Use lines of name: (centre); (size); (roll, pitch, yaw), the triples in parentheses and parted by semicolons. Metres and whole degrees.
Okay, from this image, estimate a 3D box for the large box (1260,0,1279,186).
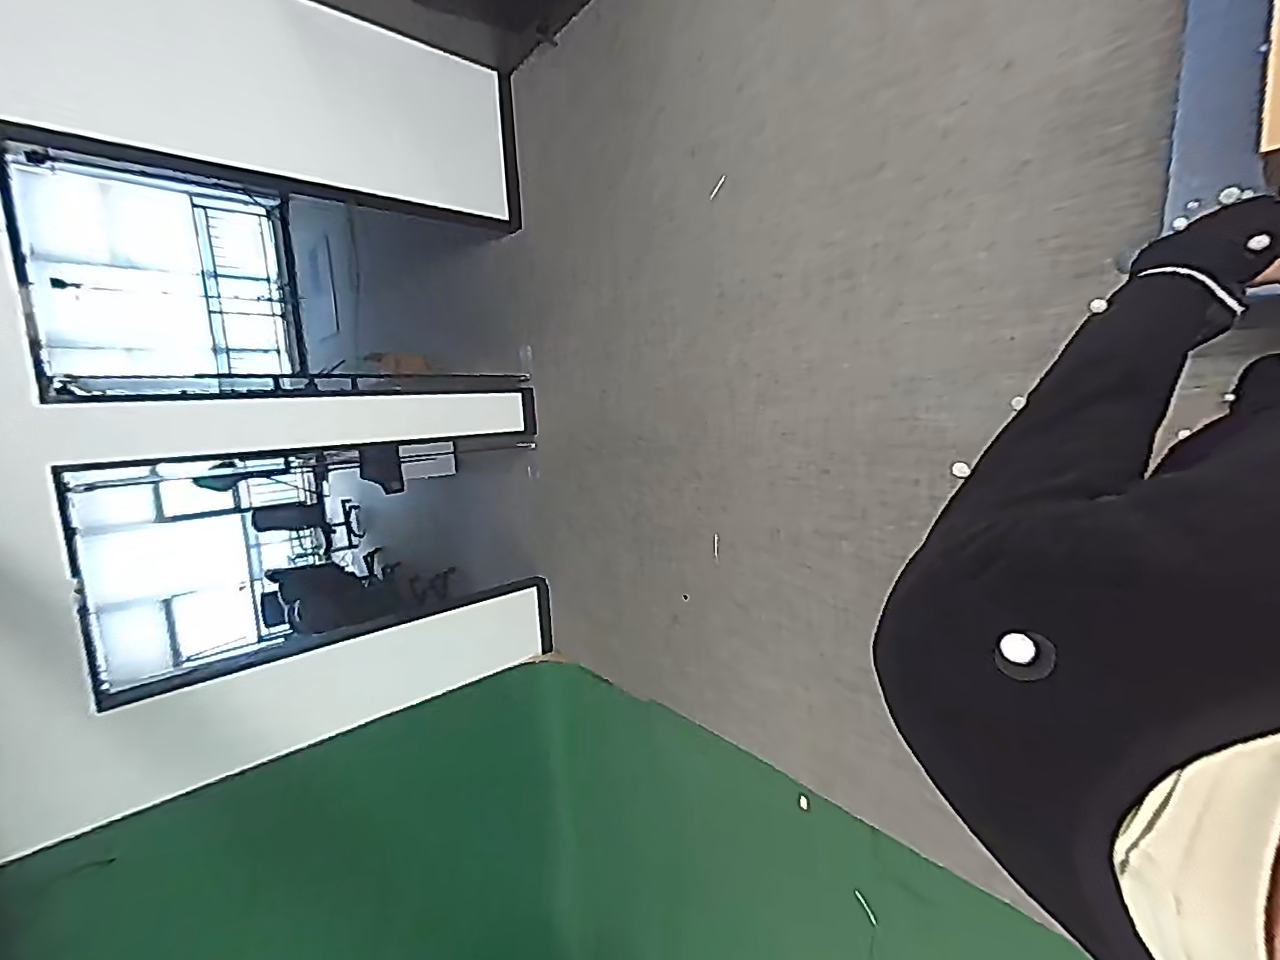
large box: (1.082, -0.678, 0.717); (0.320, 0.320, 0.408); (6, 102, 50)
